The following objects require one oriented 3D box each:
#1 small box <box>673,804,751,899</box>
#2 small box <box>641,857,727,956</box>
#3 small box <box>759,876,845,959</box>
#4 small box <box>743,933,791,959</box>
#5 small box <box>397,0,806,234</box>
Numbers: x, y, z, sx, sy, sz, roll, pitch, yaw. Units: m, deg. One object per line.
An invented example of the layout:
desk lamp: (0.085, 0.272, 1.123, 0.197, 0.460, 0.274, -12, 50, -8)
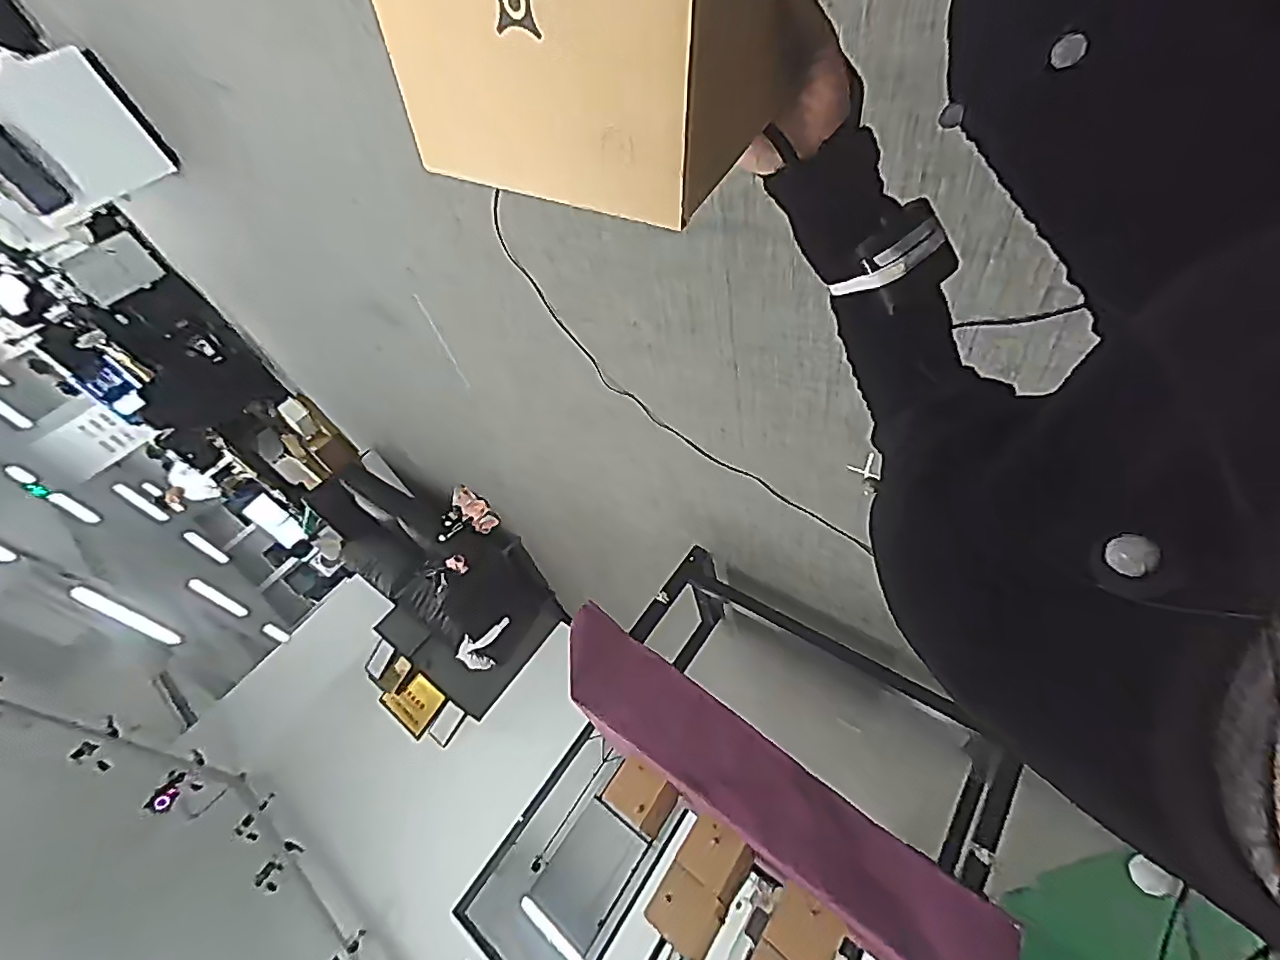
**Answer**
small box: (0.234, 1.170, 1.709, 0.168, 0.176, 0.179, 19, 146, 38)
small box: (0.137, 1.280, 1.636, 0.179, 0.176, 0.168, 21, 149, 36)
small box: (0.462, 1.270, 1.543, 0.179, 0.176, 0.168, 23, 150, 34)
small box: (0.362, 1.381, 1.474, 0.179, 0.176, 0.168, 23, 149, 33)
small box: (-0.009, -0.267, 0.280, 0.168, 0.176, 0.179, 22, 146, 16)
